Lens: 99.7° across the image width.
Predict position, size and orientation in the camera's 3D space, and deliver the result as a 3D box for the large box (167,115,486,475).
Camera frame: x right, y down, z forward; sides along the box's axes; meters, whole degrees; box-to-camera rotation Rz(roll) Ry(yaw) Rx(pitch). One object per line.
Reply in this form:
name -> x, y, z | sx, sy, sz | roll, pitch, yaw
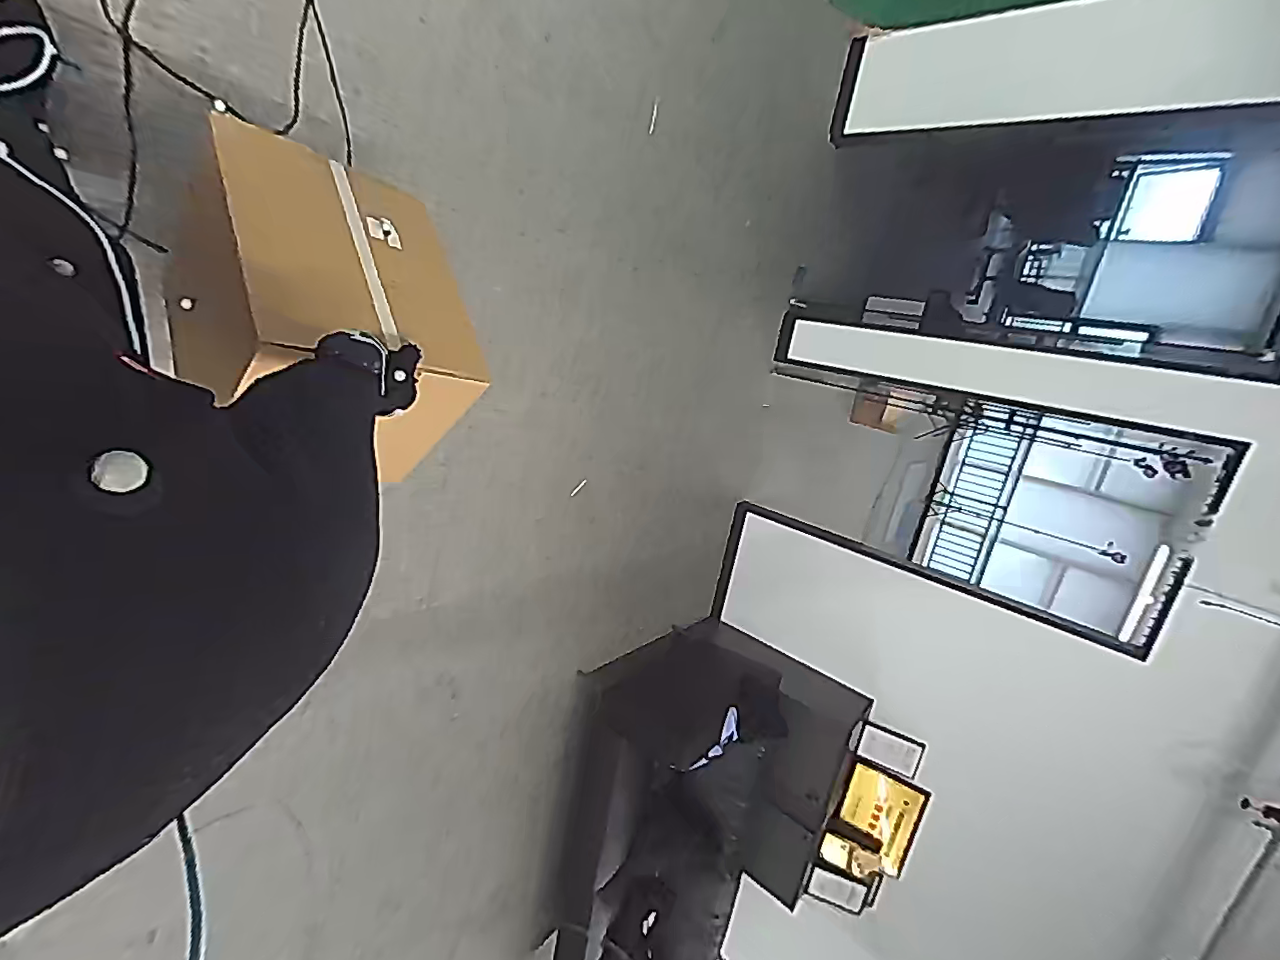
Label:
large box -> -0.514, -0.253, 0.872 | 0.320, 0.408, 0.320 | -36, 158, 31
